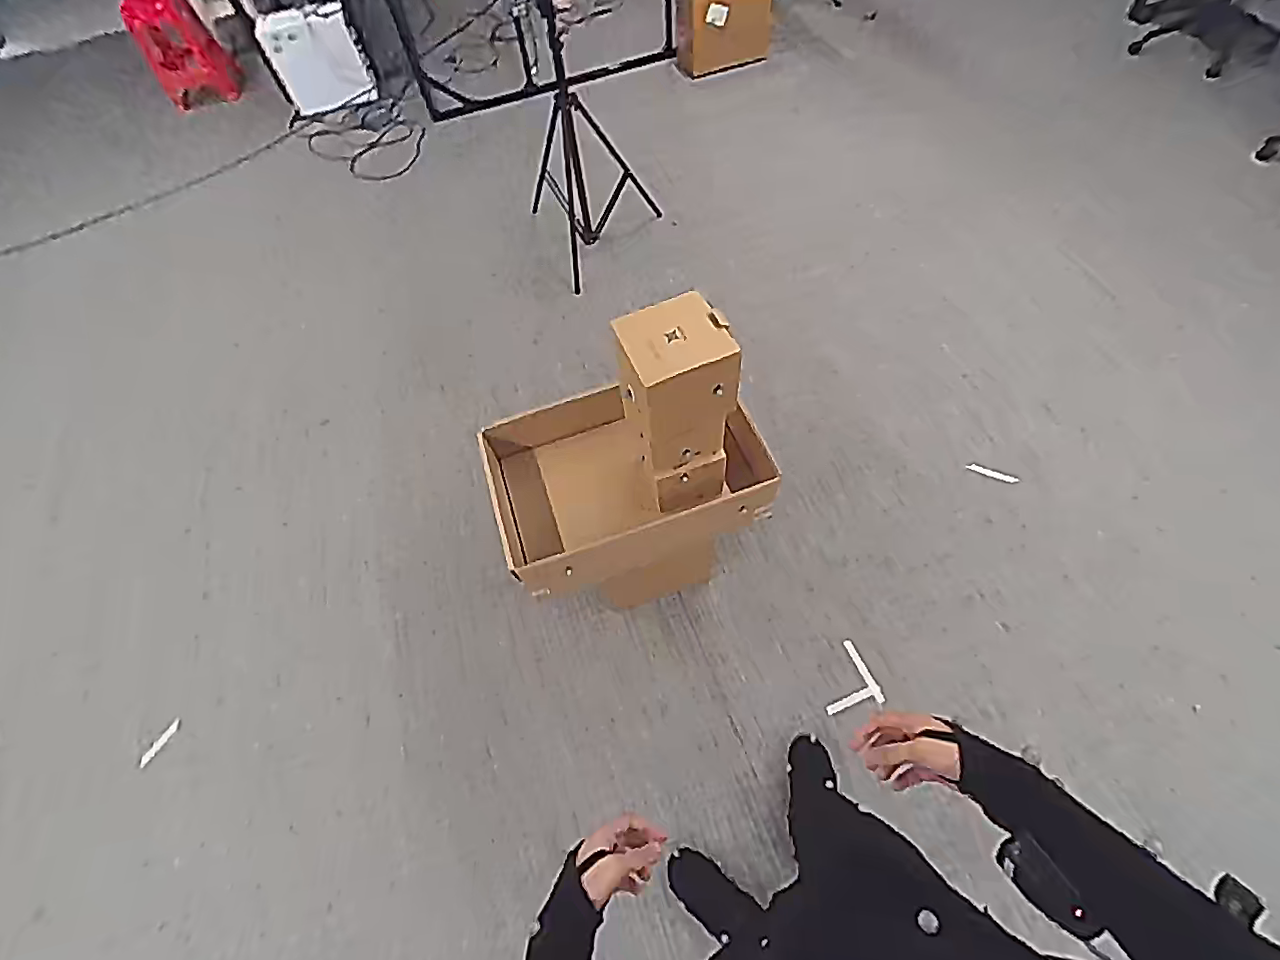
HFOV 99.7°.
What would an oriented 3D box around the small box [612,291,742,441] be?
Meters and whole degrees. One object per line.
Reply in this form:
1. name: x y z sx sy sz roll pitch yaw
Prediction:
1. small box: 0.064 -0.201 0.978 0.179 0.176 0.168 -22 61 -7
